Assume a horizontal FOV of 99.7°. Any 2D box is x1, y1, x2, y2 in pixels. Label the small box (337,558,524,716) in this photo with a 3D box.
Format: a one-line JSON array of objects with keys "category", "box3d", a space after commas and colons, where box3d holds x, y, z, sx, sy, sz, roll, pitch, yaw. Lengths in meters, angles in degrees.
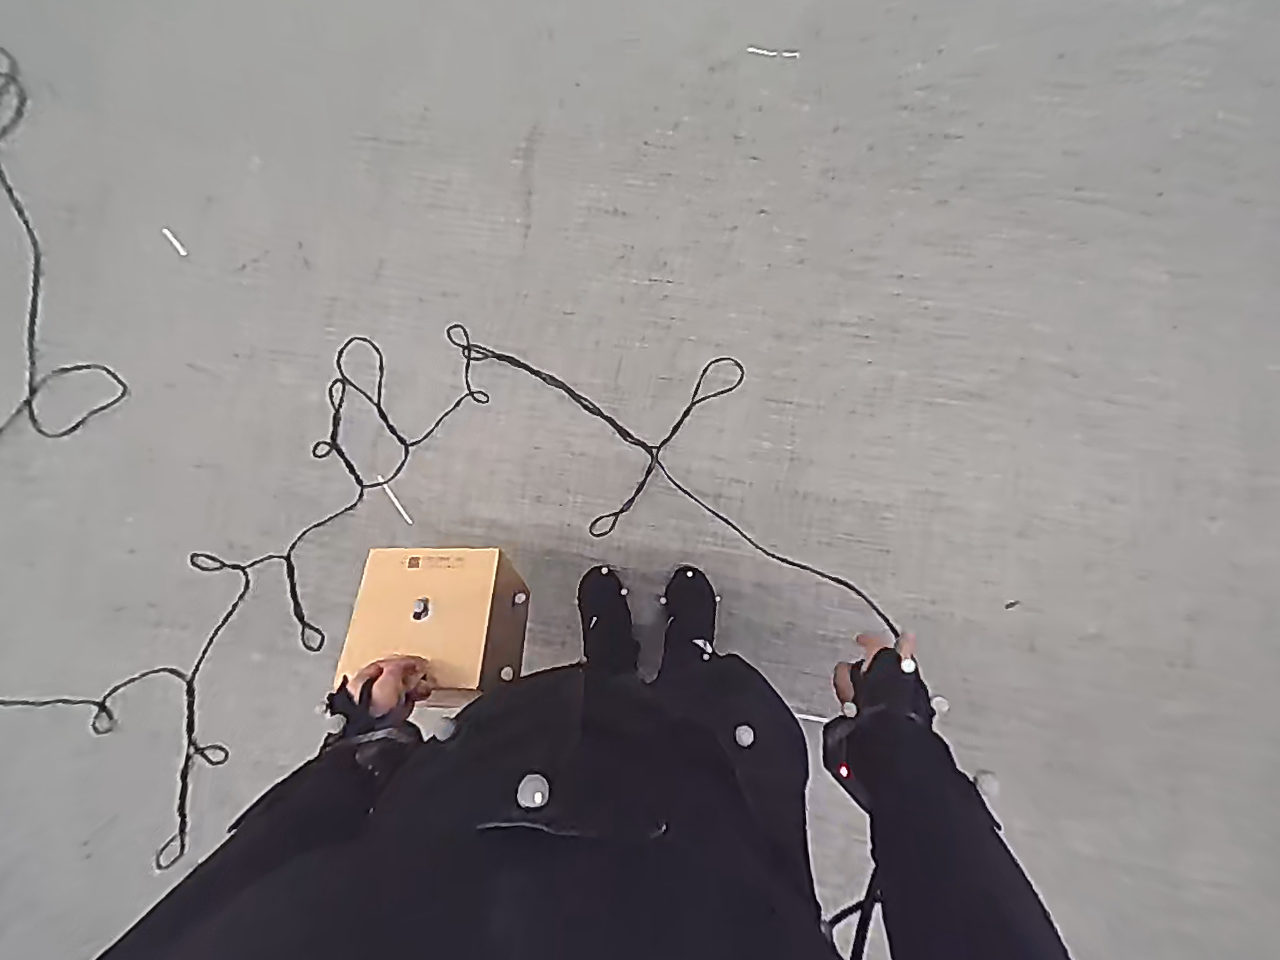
[{"category": "small box", "box3d": [-0.254, 0.205, 0.703, 0.168, 0.179, 0.176, -2, 62, 2]}]
